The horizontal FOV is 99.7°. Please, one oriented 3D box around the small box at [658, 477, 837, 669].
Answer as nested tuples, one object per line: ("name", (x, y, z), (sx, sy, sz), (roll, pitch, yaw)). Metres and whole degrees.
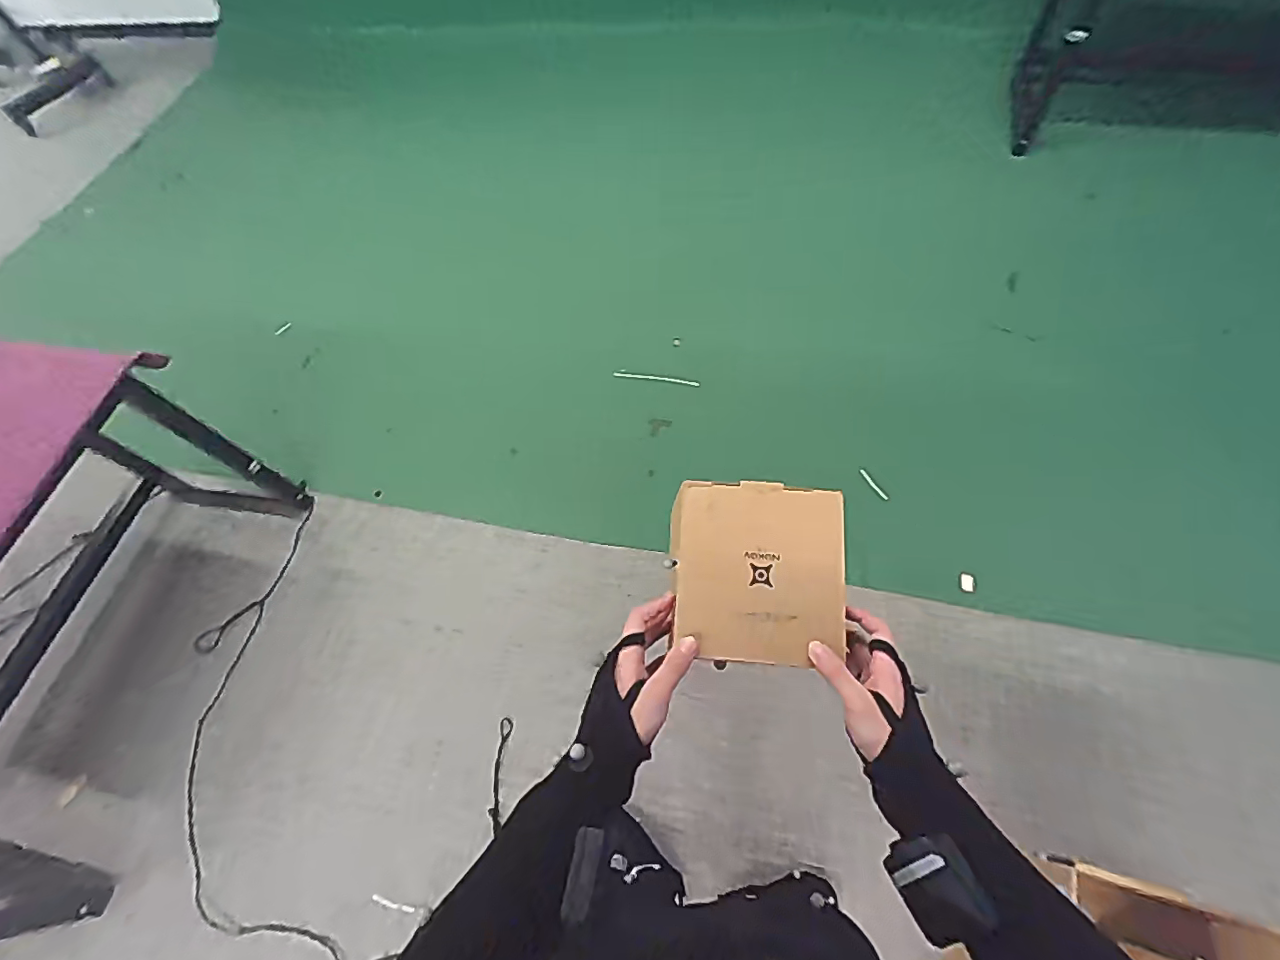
("small box", (0.109, 0.108, 0.605), (0.168, 0.176, 0.179), (4, 75, 1))
